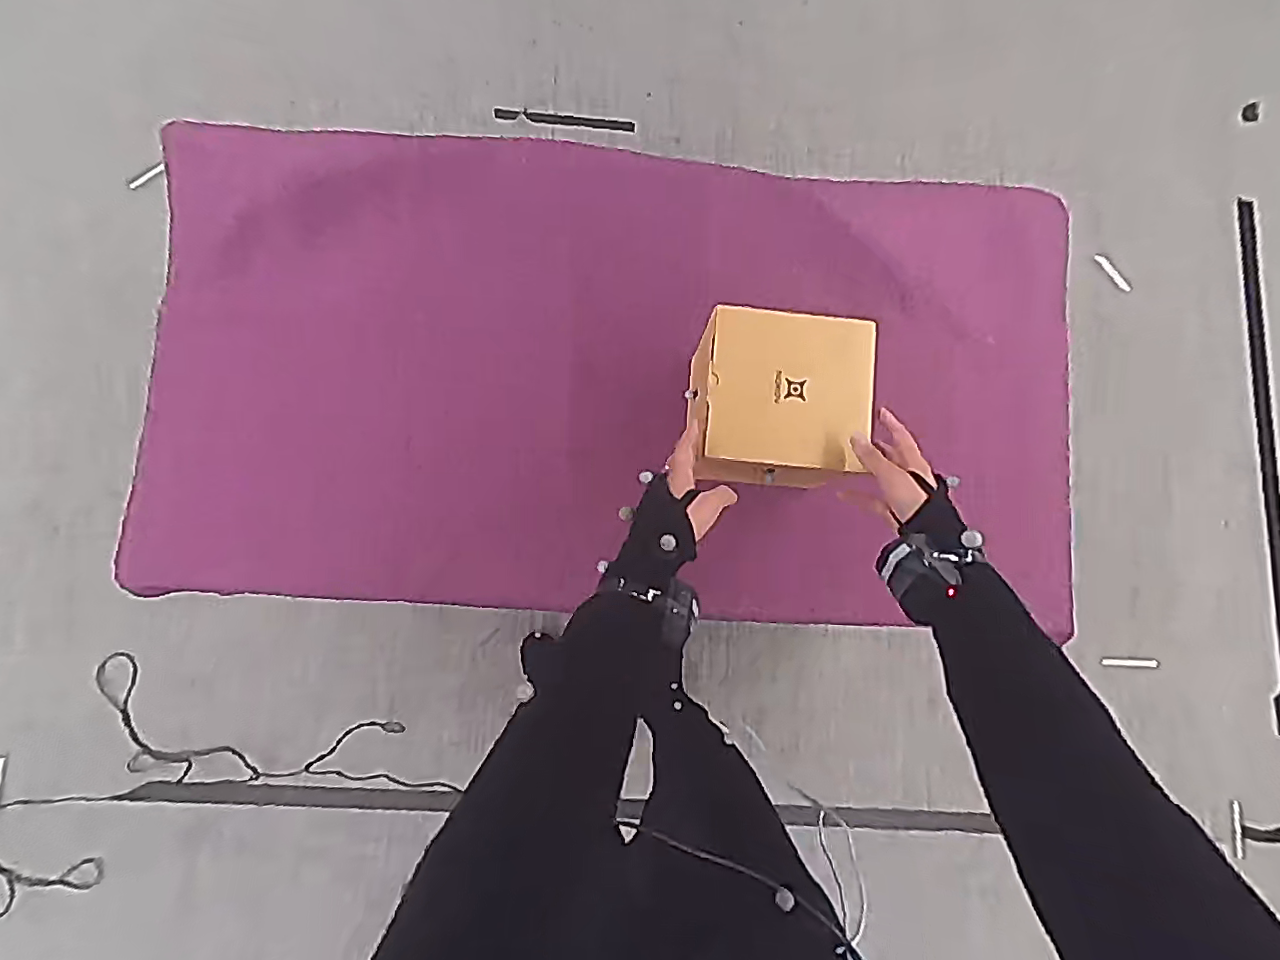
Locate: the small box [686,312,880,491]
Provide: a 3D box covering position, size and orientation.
[{"bbox_3d":[0.156,-0.079,0.638,0.179,0.176,0.168,5,84,-1],"label":"small box"}]
